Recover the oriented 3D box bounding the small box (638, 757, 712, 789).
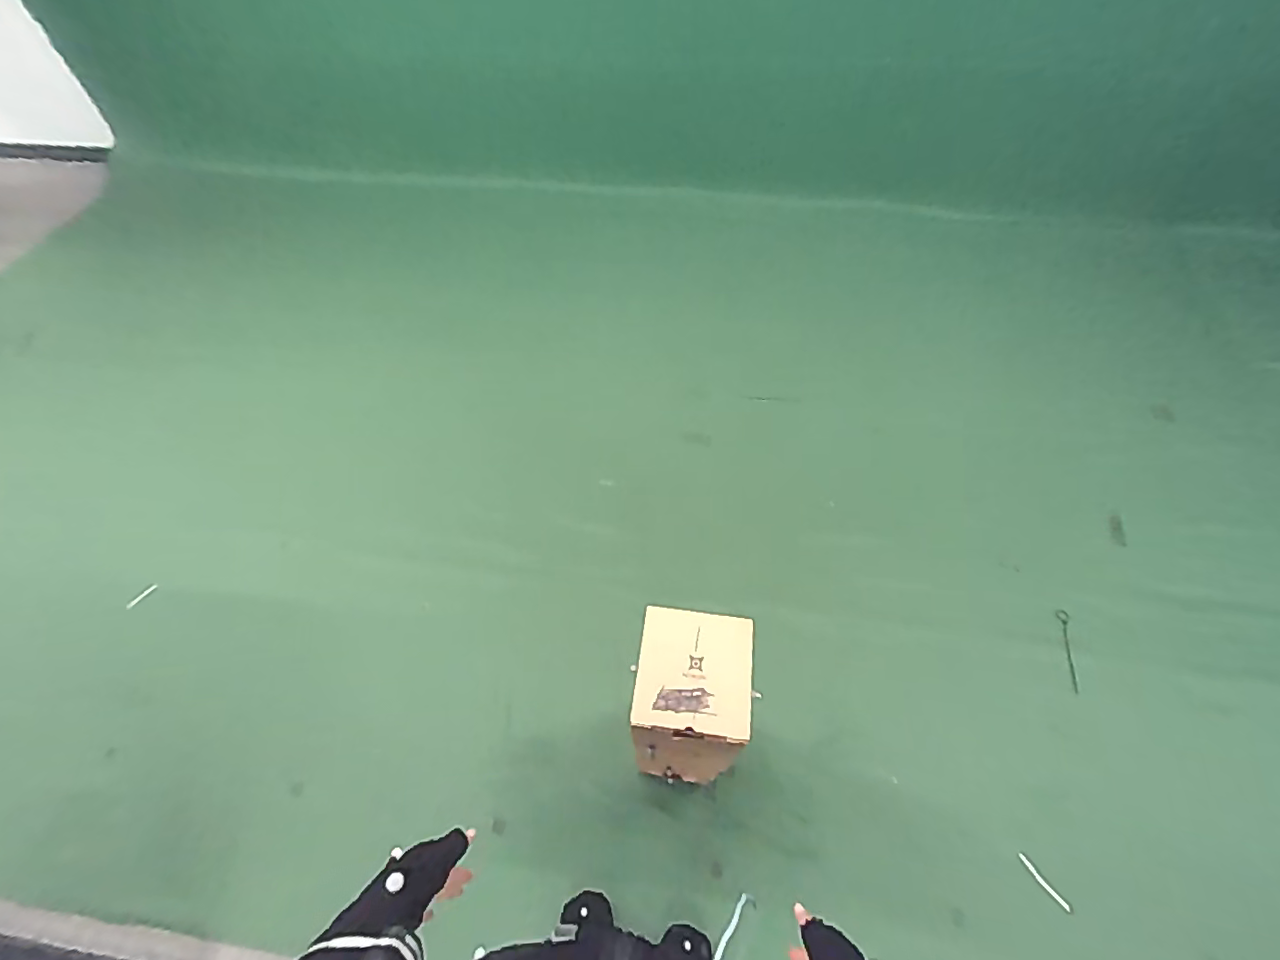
[{"bbox_3d":[0.091,0.598,1.258,0.168,0.176,0.179,8,55,7],"label":"small box"}]

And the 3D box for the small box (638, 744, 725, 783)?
[{"bbox_3d":[0.087,0.510,1.121,0.168,0.176,0.179,6,56,5],"label":"small box"}]

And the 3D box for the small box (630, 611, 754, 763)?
[{"bbox_3d":[0.081,0.328,0.847,0.168,0.176,0.179,7,54,5],"label":"small box"}]
